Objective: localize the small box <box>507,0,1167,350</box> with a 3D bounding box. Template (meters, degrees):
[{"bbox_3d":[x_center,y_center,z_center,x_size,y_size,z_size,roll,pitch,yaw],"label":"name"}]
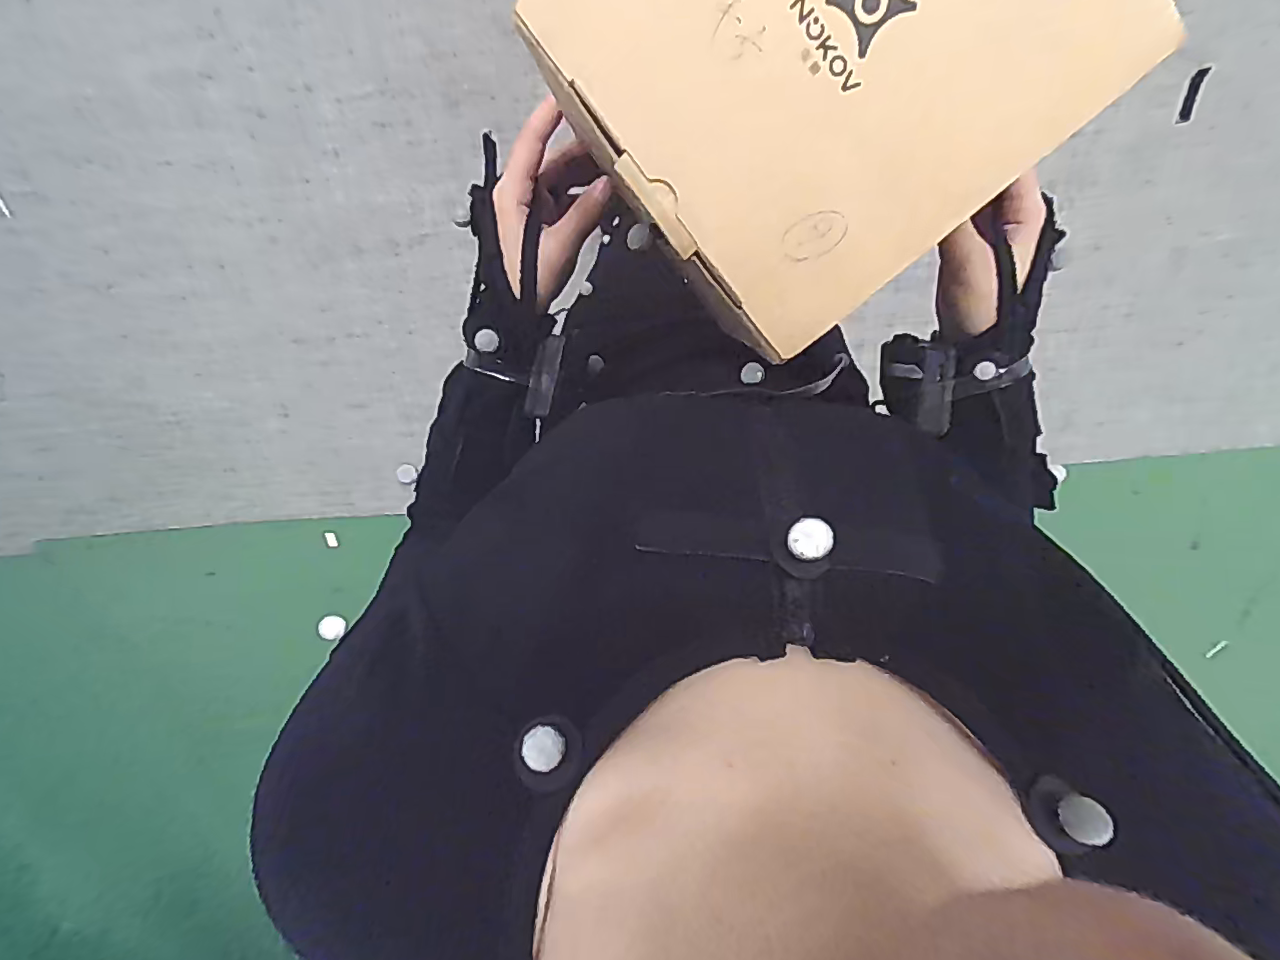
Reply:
[{"bbox_3d":[0.071,-0.188,0.266,0.179,0.176,0.168,-38,104,14],"label":"small box"}]
